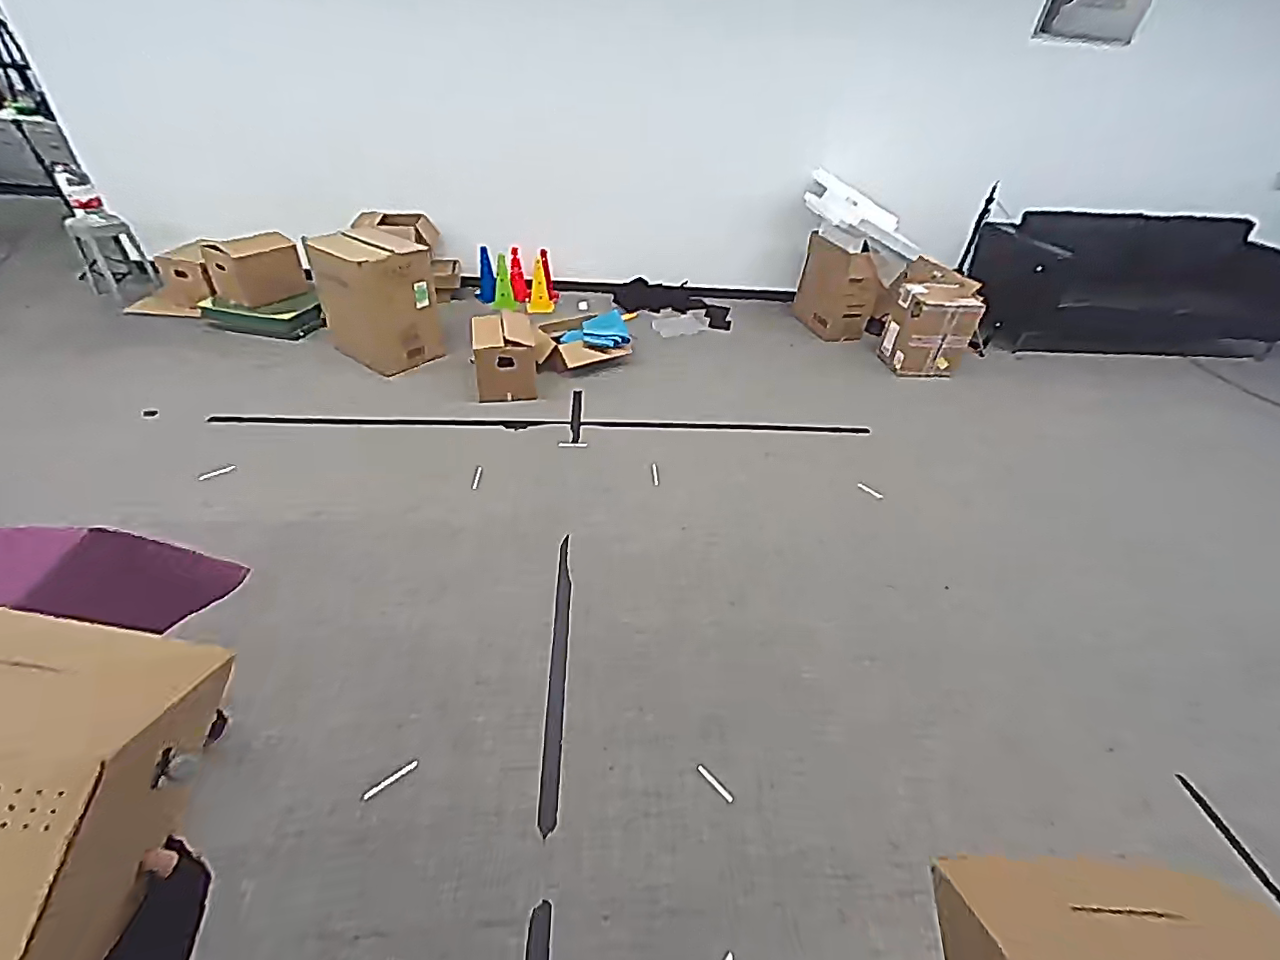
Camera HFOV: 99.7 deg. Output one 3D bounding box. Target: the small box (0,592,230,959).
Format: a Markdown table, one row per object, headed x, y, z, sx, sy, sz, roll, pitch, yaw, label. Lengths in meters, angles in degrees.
| x | y | z | sx | sy | sz | roll | pitch | yaw | label |
| --- | --- | --- | --- | --- | --- | --- | --- | --- | --- |
| -0.335 | 0.151 | 0.249 | 0.168 | 0.176 | 0.179 | 20 | -10 | -20 | small box |
